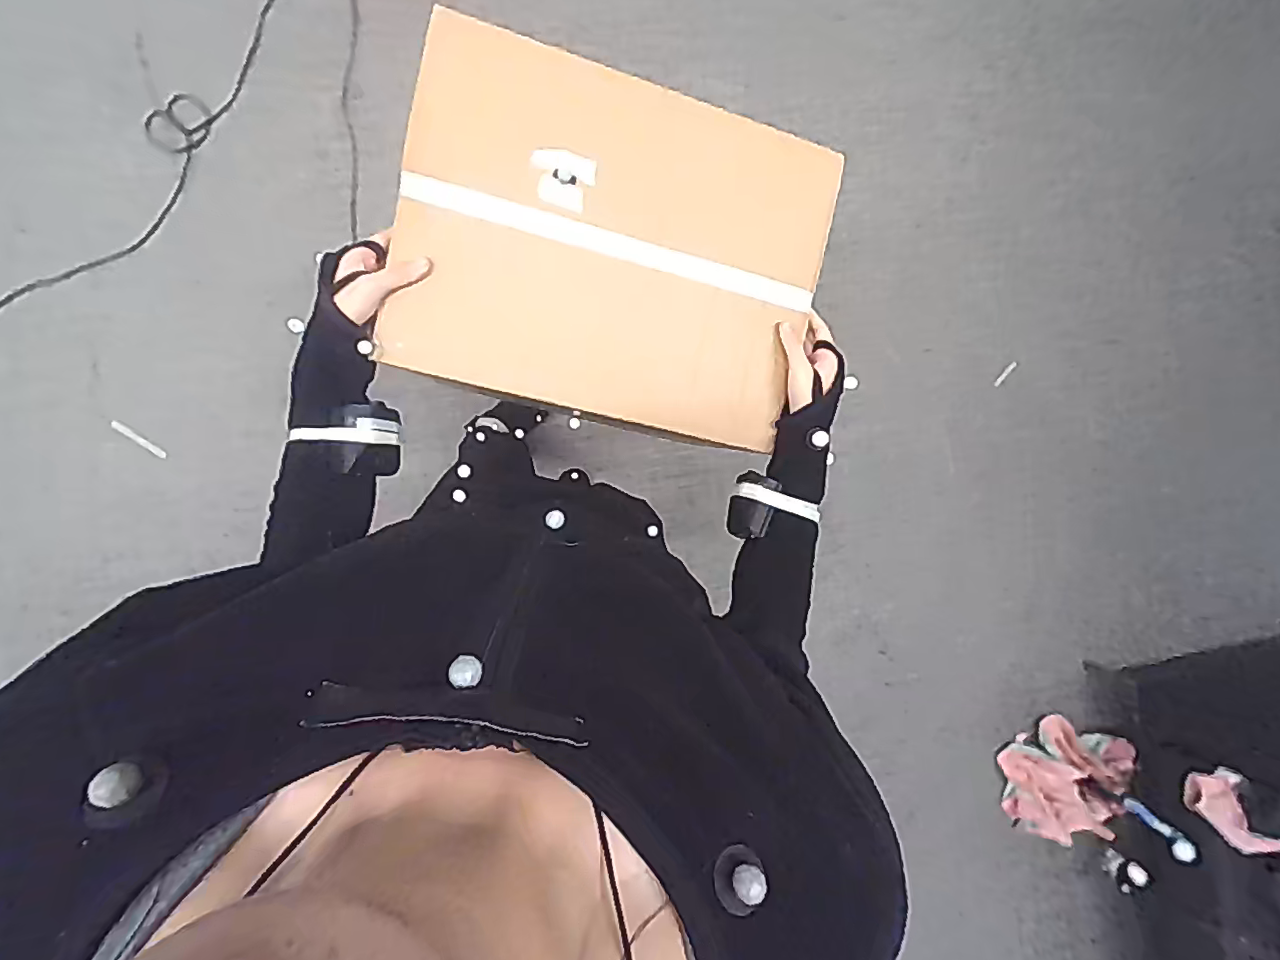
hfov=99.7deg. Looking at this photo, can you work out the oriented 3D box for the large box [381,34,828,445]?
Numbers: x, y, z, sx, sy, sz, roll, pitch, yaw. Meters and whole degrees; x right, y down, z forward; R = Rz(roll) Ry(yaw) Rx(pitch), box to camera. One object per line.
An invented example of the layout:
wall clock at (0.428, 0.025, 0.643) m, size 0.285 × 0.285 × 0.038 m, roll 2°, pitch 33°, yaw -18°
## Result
large box at (-0.048, -0.236, 0.679) m, size 0.408 × 0.320 × 0.320 m, roll 11°, pitch 93°, yaw -11°
